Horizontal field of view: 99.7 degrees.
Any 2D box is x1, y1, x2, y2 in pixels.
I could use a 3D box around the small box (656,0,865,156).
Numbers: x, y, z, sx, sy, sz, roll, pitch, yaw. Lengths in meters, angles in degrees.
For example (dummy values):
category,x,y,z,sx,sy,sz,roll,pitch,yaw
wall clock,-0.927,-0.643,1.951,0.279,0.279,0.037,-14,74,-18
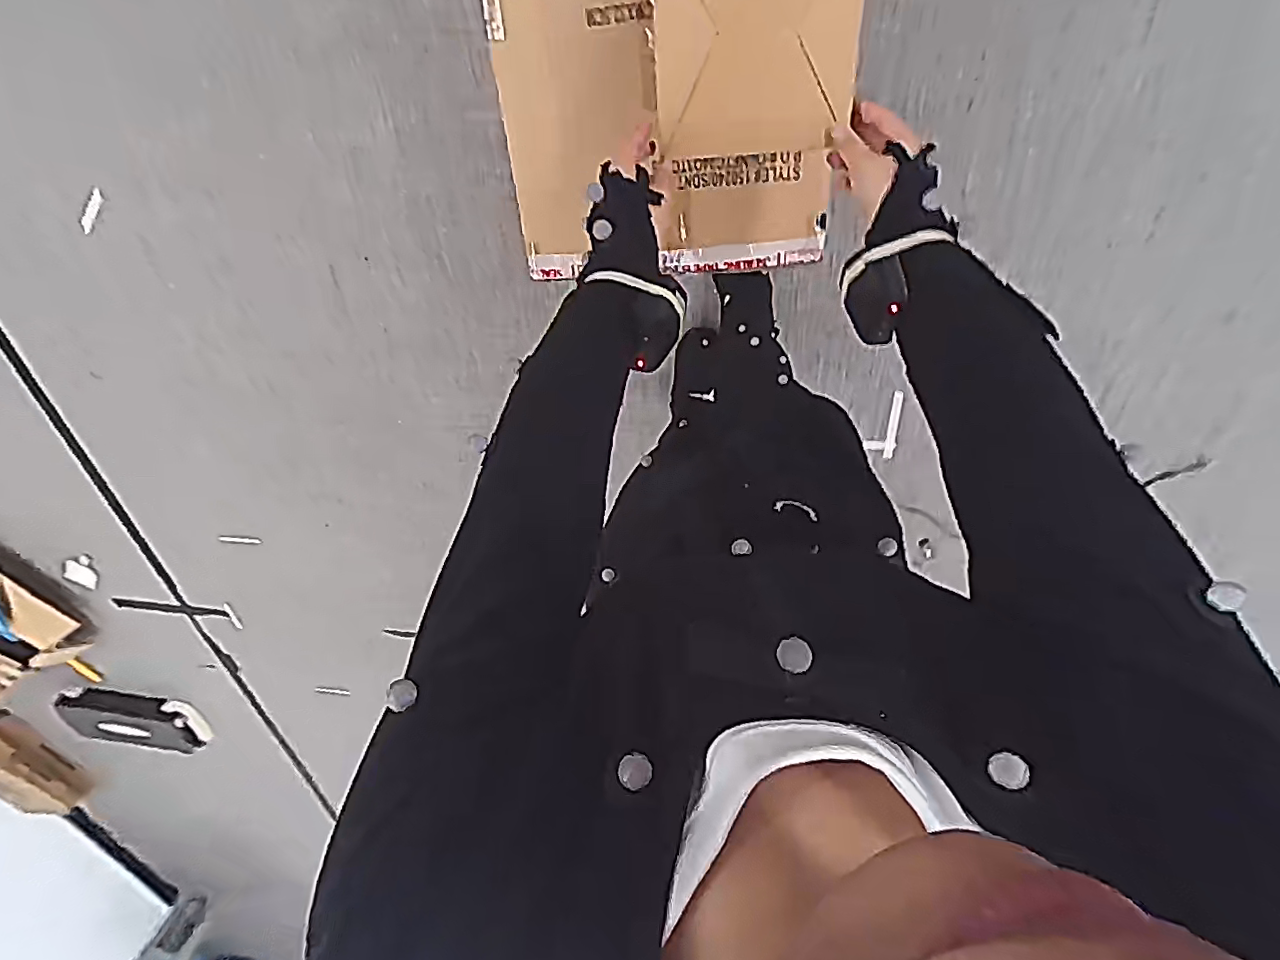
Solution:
category,x,y,z,sx,sy,sz,roll,pitch,yaw
small box,0.103,-0.410,0.501,0.168,0.176,0.179,-1,125,8
